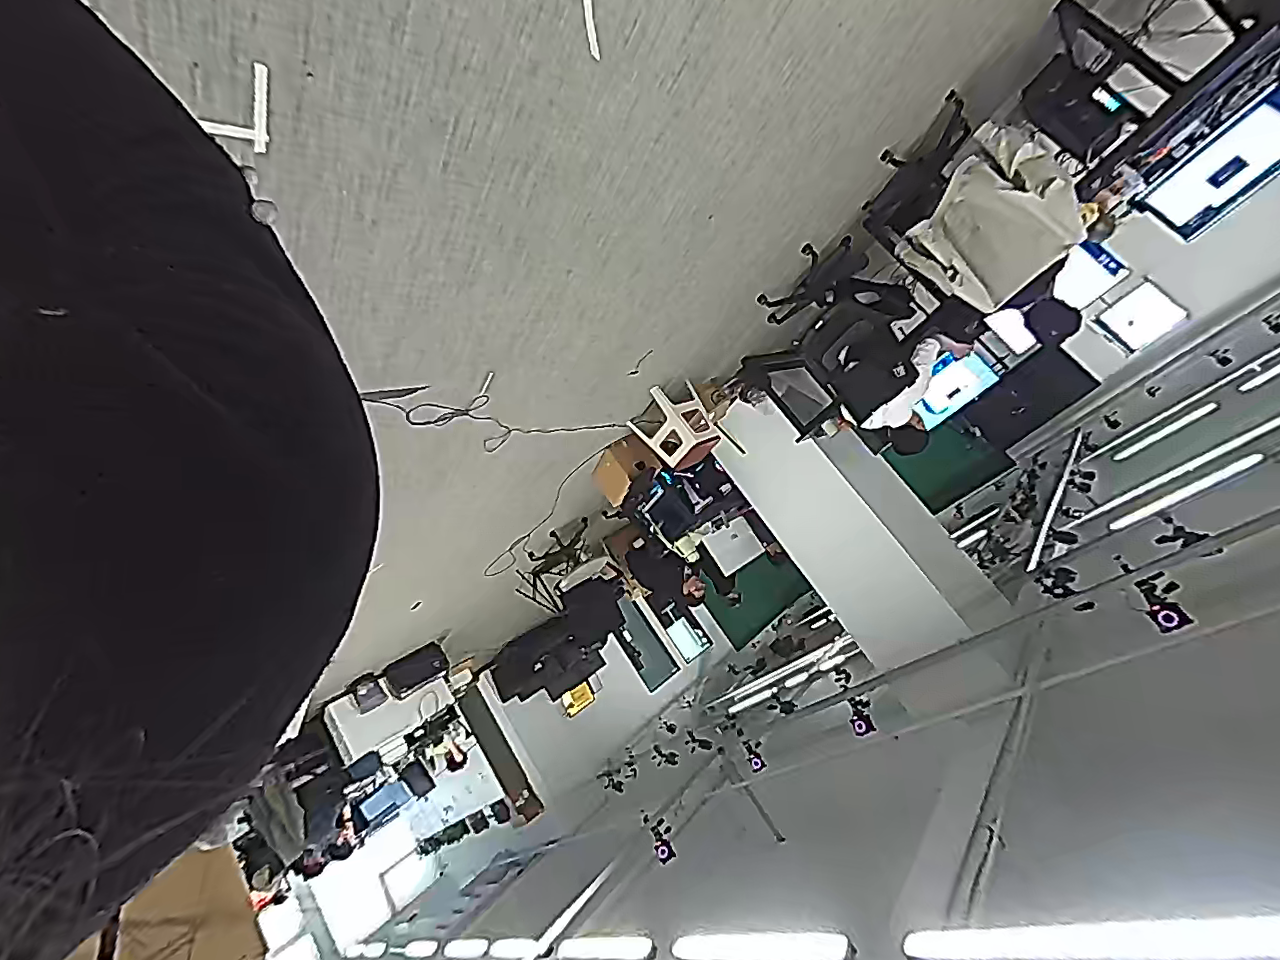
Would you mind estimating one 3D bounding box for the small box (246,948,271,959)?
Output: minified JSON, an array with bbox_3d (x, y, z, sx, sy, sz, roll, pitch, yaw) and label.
[{"bbox_3d":[-1.234,1.610,1.687,0.168,0.176,0.179,-22,160,-42],"label":"small box"}]
